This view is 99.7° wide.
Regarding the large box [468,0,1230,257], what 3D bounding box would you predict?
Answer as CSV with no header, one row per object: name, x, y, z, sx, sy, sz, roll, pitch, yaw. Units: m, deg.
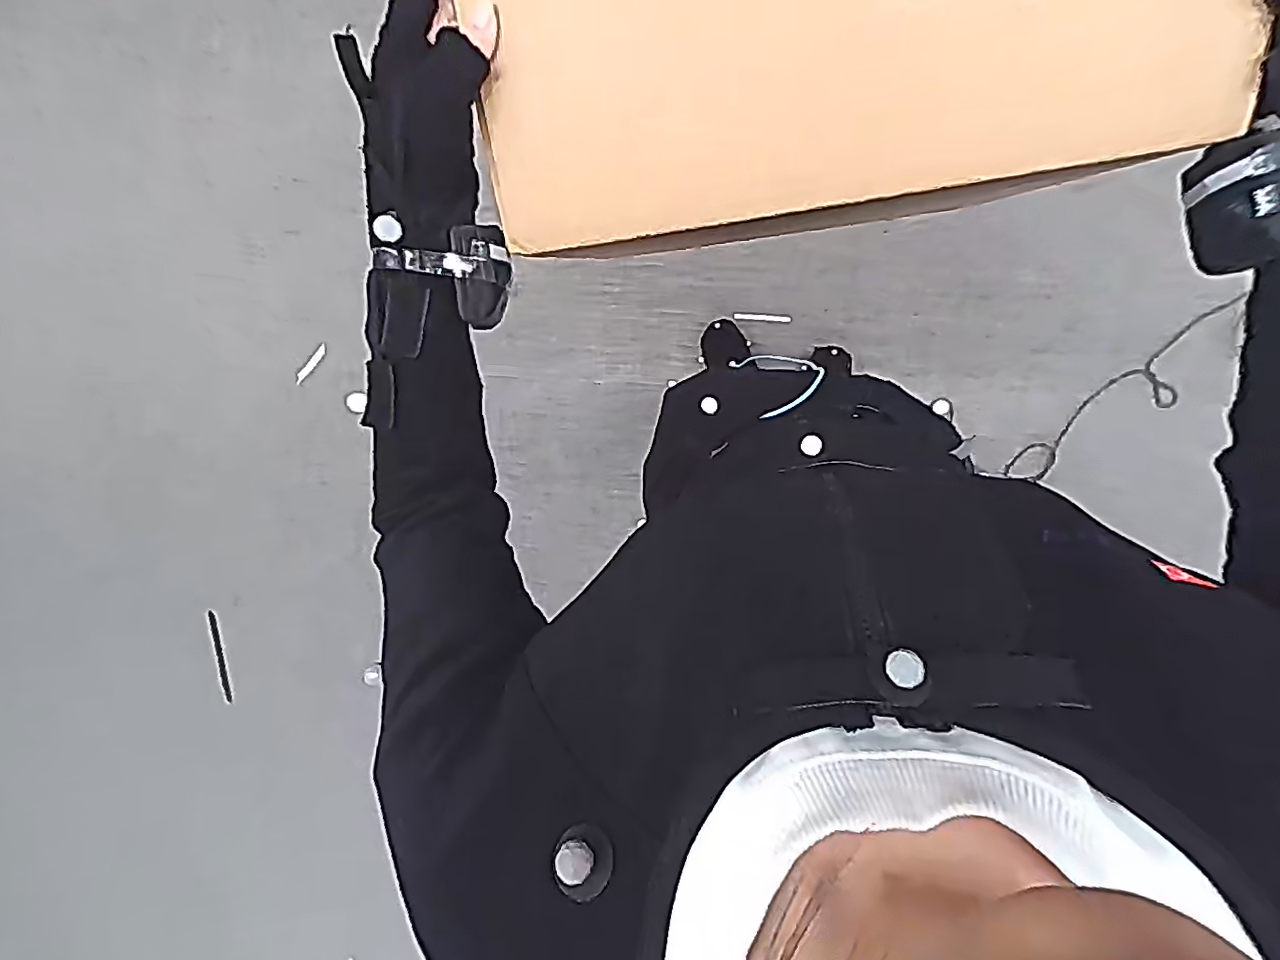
large box,0.109,-0.371,0.414,0.408,0.320,0.320,-5,111,11
